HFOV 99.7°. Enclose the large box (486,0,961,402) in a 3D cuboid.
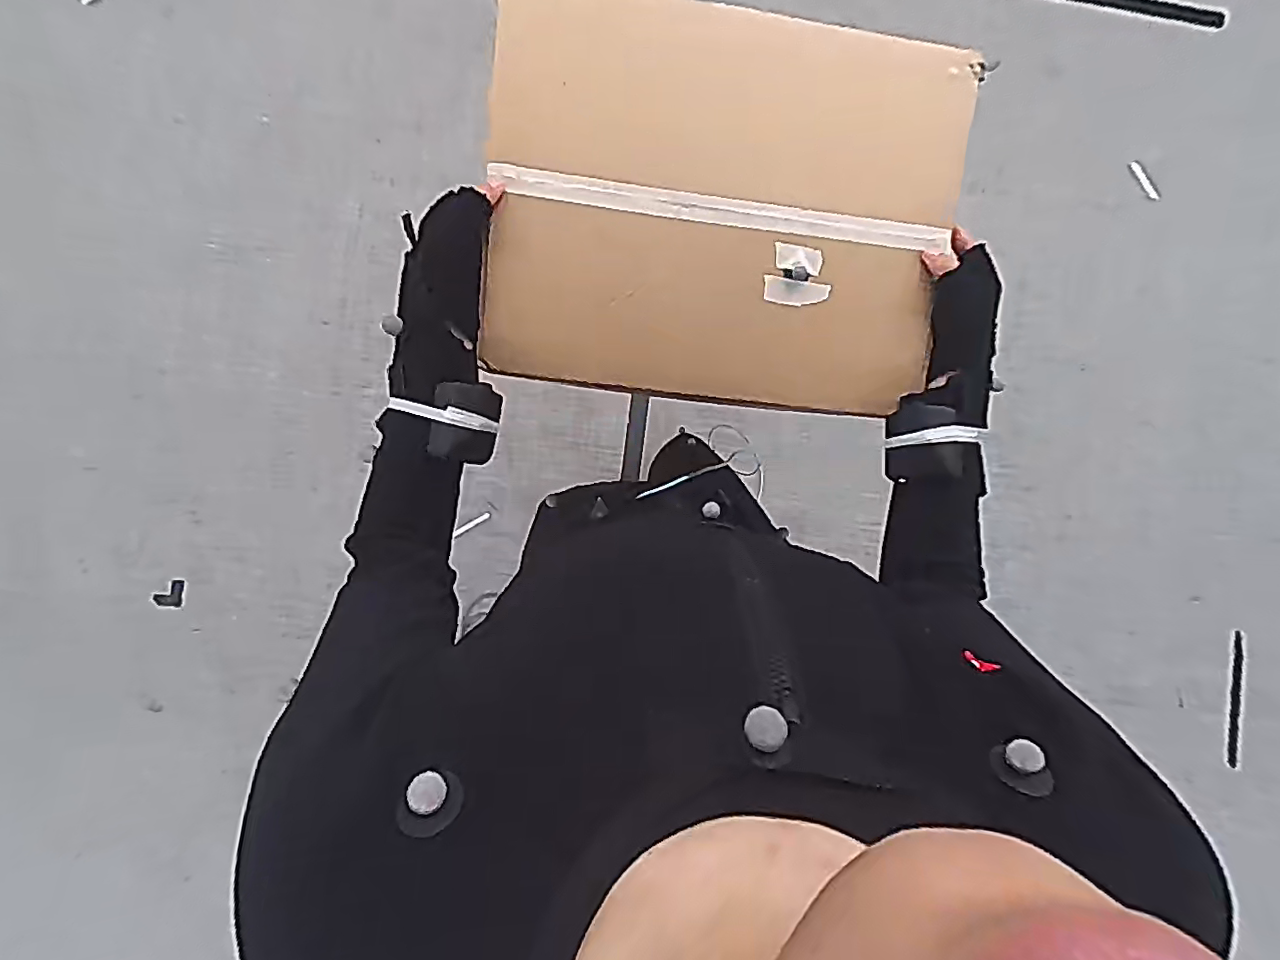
[{"bbox_3d":[0.058,-0.266,0.623,0.408,0.320,0.320,6,100,-6],"label":"large box"}]
